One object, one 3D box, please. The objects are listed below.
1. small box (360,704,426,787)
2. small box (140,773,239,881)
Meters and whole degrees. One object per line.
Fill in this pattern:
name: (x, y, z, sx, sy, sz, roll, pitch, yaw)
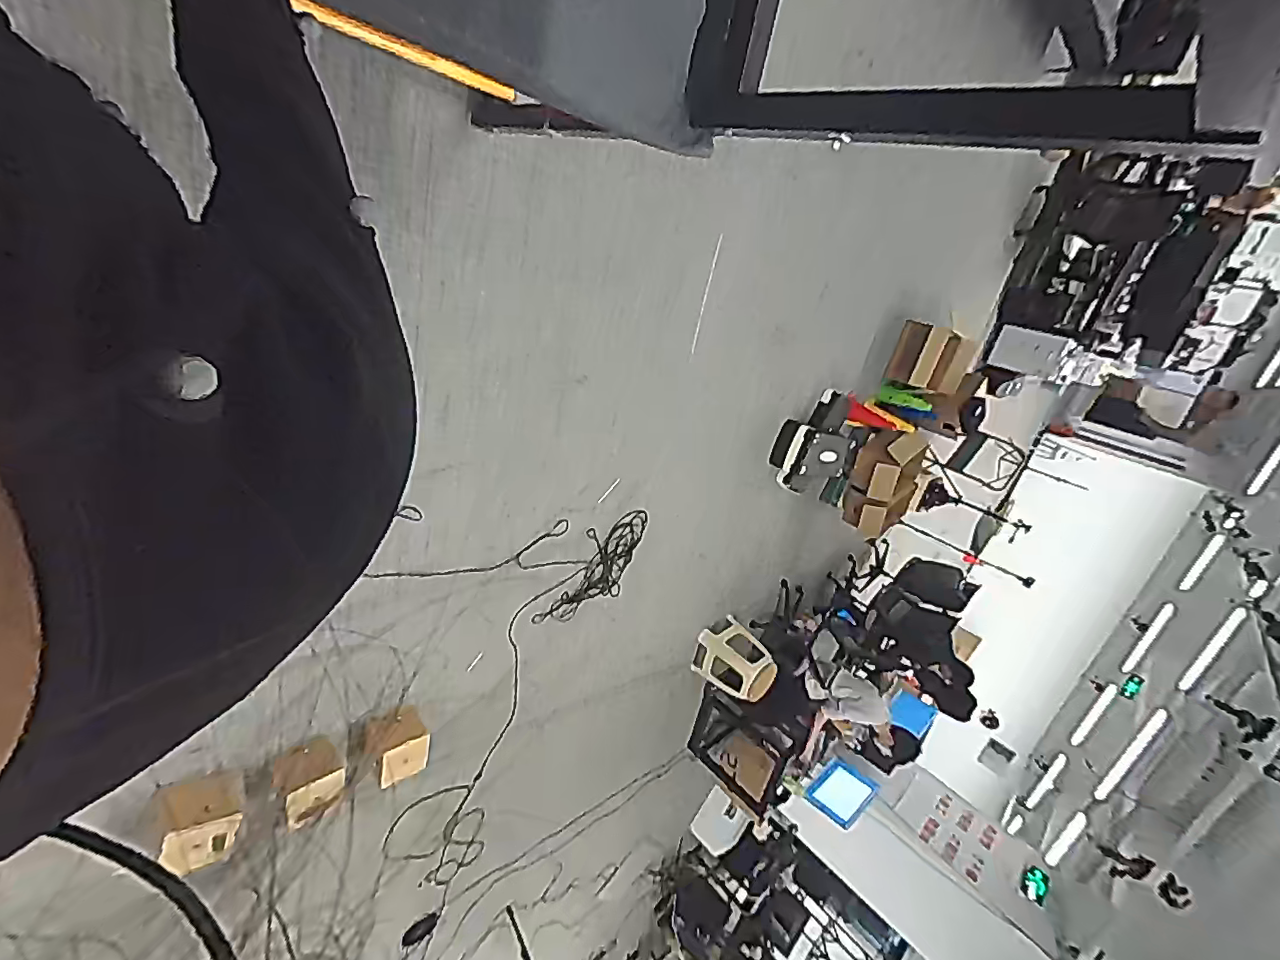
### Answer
small box: (-0.901, 0.955, 1.963, 0.168, 0.176, 0.179, -9, 120, -46)
small box: (-1.281, 0.972, 1.537, 0.179, 0.176, 0.168, 11, 105, -50)
